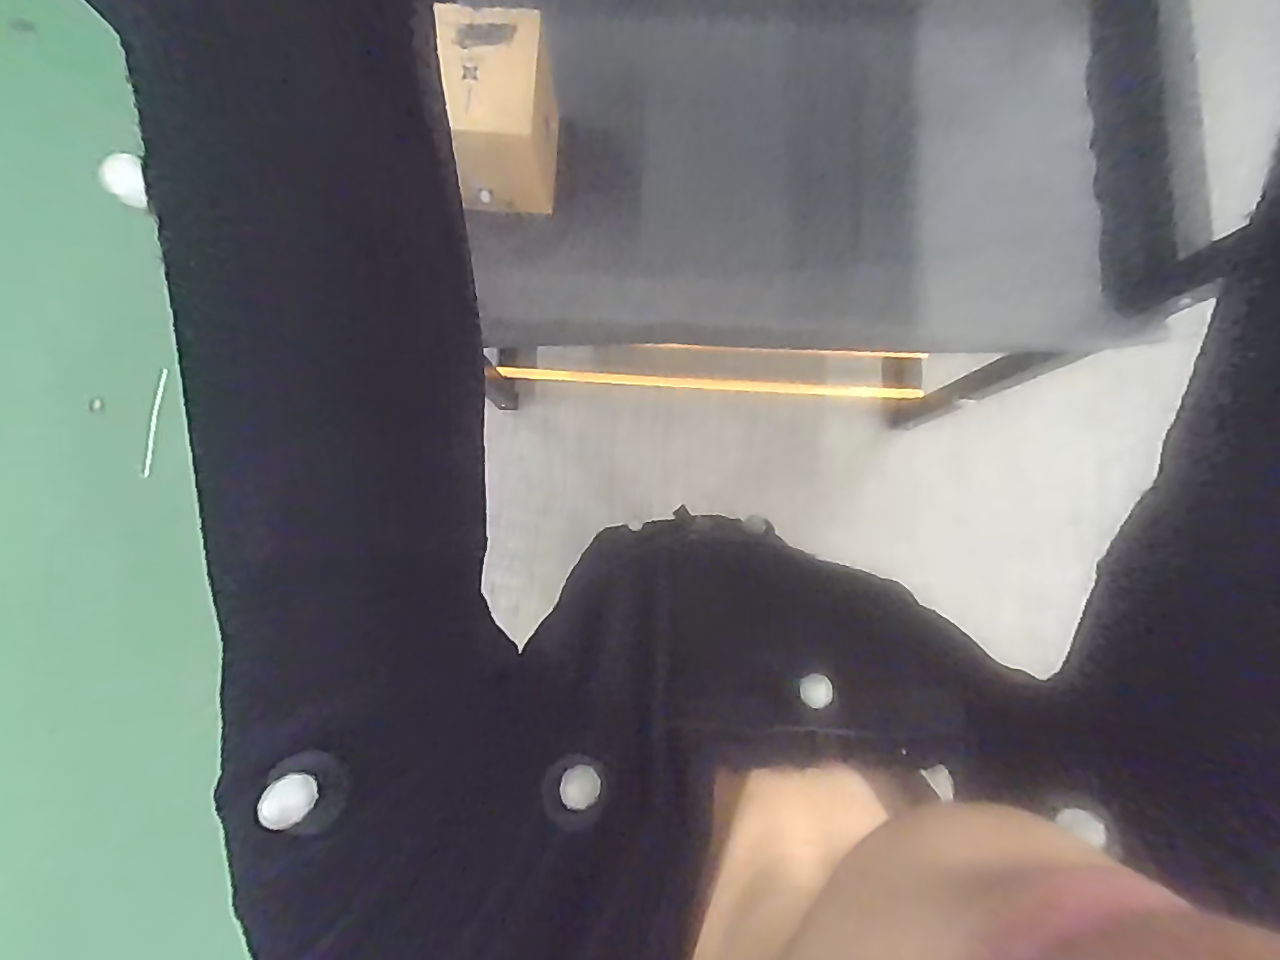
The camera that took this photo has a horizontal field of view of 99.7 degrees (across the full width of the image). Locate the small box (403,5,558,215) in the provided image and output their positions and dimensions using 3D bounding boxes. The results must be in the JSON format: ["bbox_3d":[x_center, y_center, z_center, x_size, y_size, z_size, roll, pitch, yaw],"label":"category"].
[{"bbox_3d":[-0.211,-0.510,0.764,0.168,0.176,0.179,3,83,0],"label":"small box"}]
